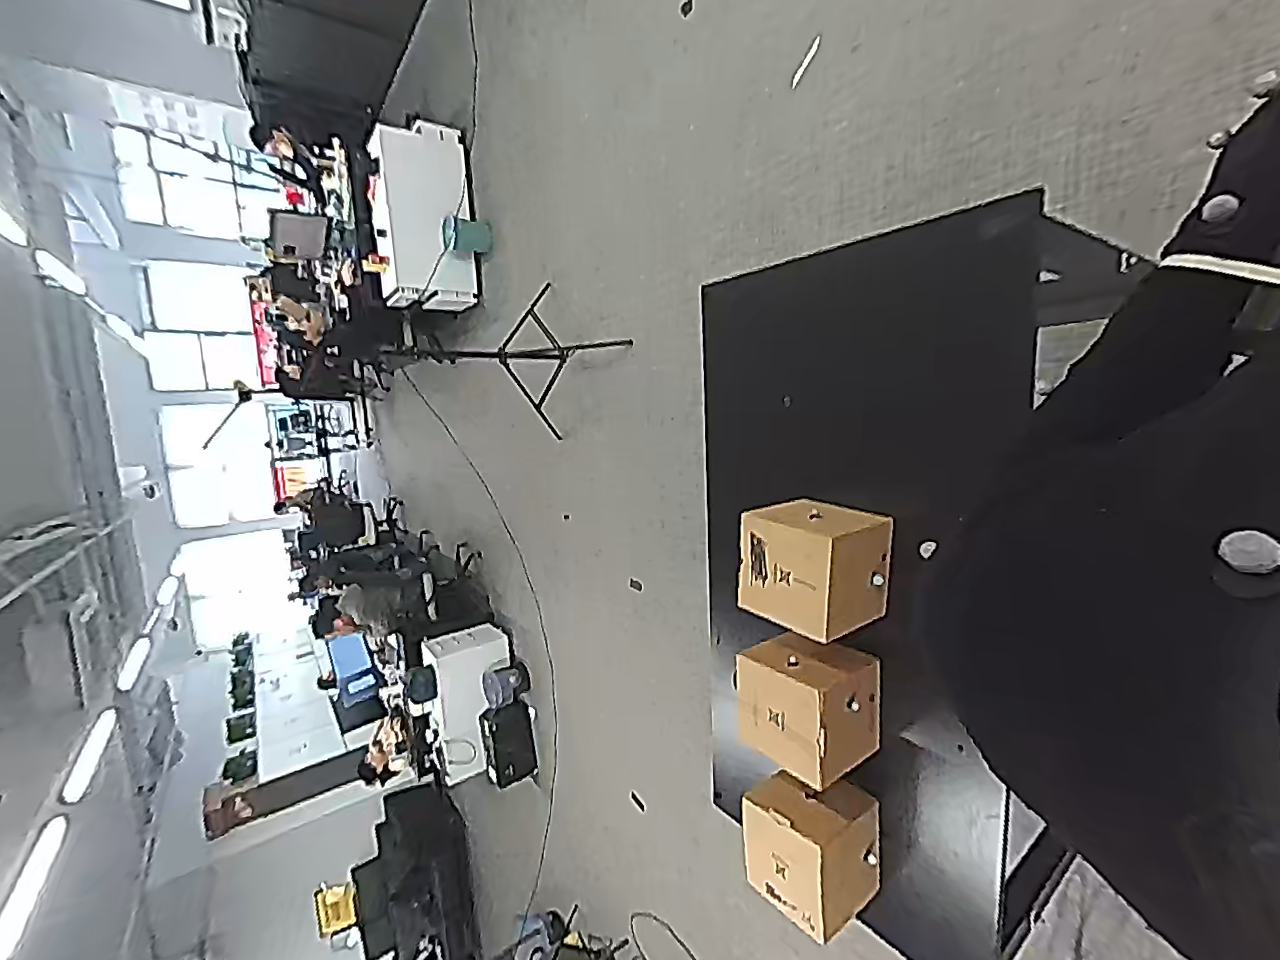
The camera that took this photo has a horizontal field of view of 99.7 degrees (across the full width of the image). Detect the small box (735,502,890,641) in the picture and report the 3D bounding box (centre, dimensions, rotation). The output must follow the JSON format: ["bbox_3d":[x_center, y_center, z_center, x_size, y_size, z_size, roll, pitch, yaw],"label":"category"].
[{"bbox_3d":[0.279,0.136,0.887,0.179,0.176,0.168,14,108,51],"label":"small box"}]

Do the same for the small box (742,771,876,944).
[{"bbox_3d":[0.300,0.641,0.960,0.168,0.176,0.179,4,99,54],"label":"small box"}]

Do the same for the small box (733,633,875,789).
[{"bbox_3d":[0.284,0.381,0.933,0.179,0.176,0.168,7,102,54],"label":"small box"}]
